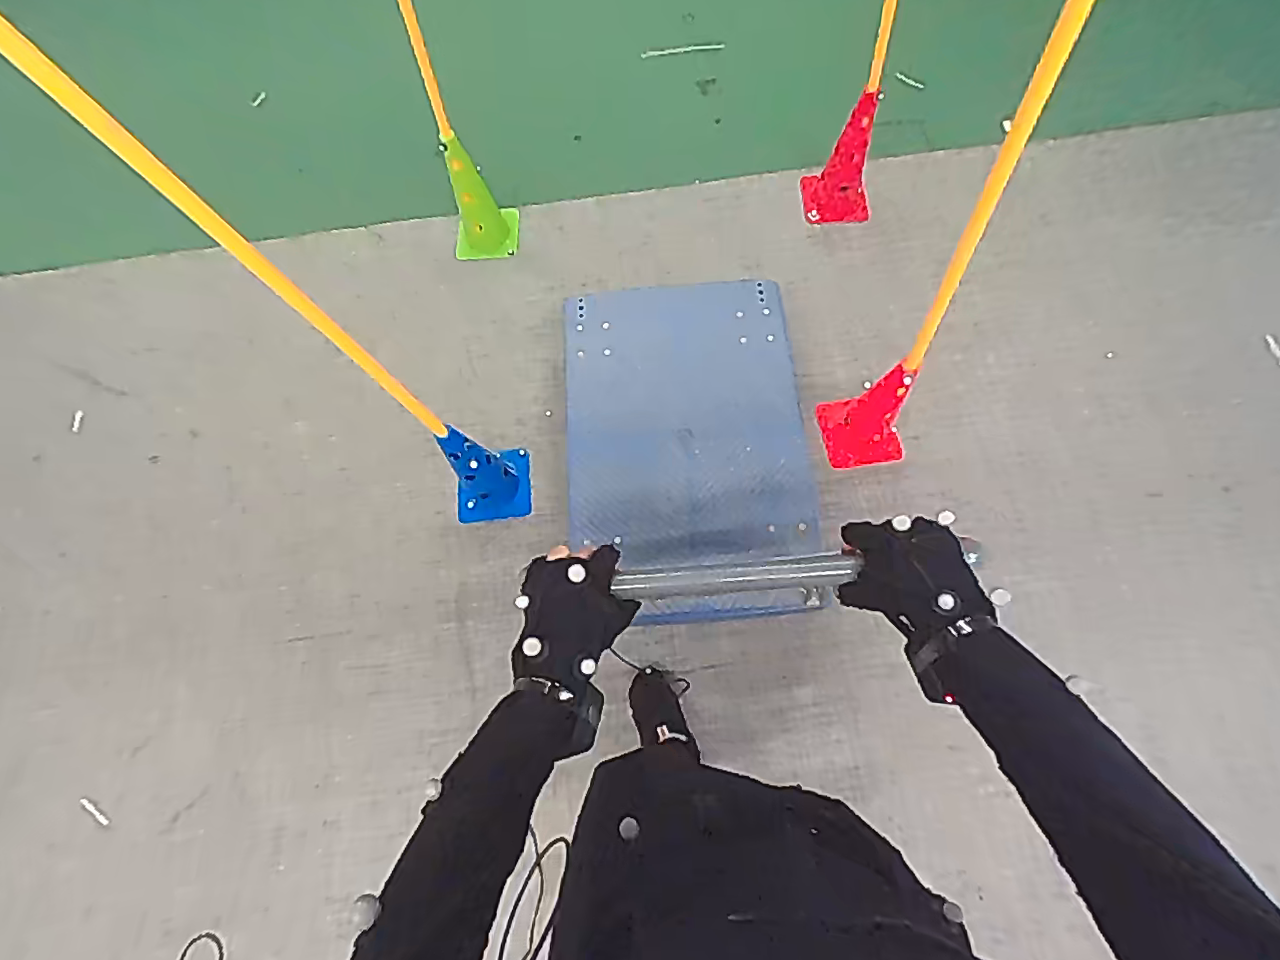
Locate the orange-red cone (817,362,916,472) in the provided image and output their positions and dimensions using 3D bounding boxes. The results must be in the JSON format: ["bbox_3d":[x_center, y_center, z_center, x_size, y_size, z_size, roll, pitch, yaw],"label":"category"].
[{"bbox_3d":[0.589,-0.179,1.329,0.199,0.360,0.198,-8,70,2],"label":"orange-red cone"}]

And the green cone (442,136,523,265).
[{"bbox_3d":[-0.501,-0.859,1.630,0.202,0.368,0.200,-3,70,3],"label":"green cone"}]
